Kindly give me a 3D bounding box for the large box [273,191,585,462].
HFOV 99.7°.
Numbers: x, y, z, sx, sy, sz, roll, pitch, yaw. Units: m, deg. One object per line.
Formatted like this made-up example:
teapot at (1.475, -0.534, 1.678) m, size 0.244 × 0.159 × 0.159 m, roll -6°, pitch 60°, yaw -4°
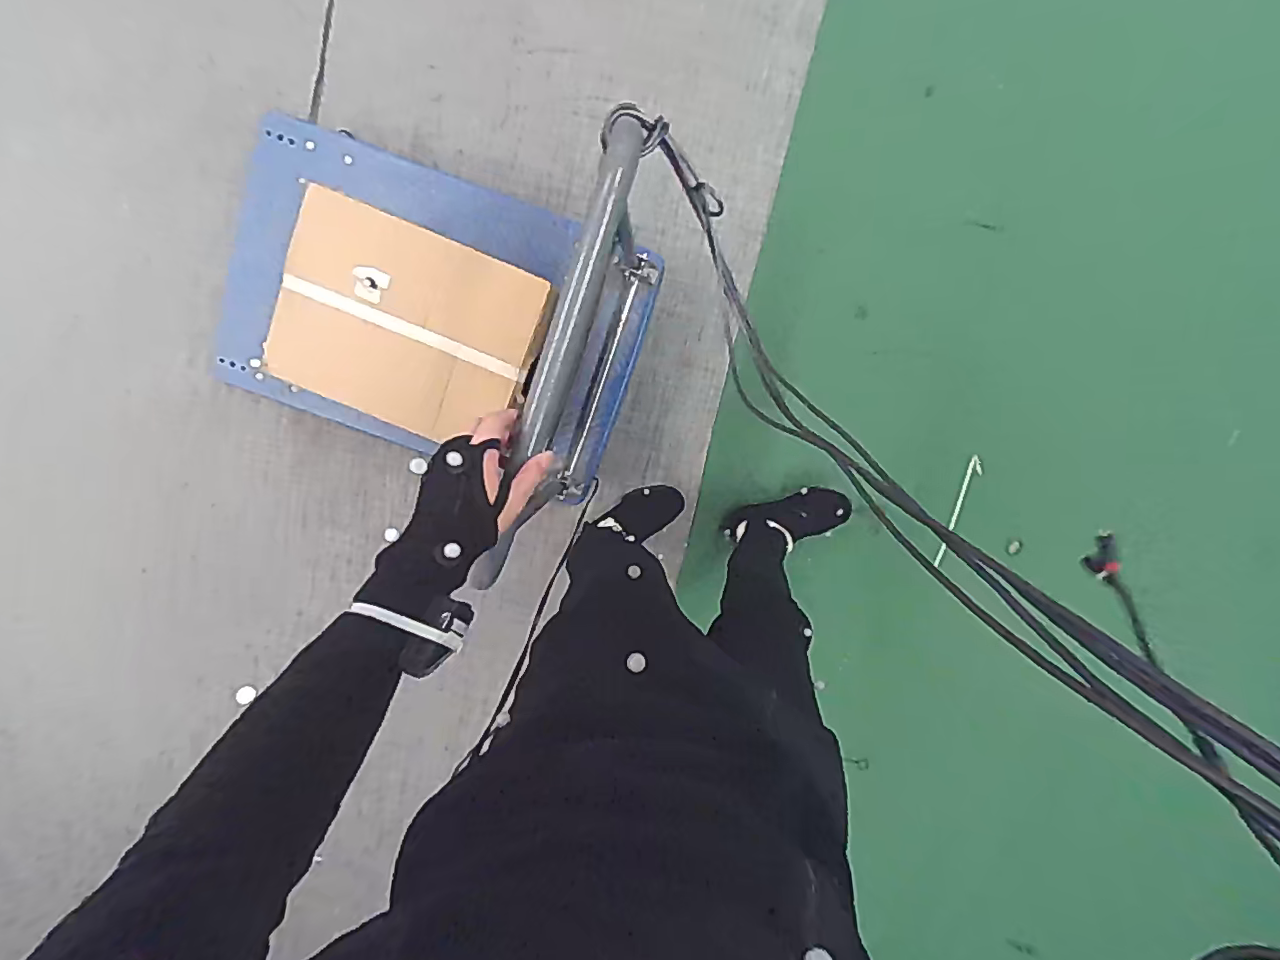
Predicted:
large box at (-0.356, -0.263, 1.008) m, size 0.408 × 0.320 × 0.320 m, roll 22°, pitch 100°, yaw -2°
